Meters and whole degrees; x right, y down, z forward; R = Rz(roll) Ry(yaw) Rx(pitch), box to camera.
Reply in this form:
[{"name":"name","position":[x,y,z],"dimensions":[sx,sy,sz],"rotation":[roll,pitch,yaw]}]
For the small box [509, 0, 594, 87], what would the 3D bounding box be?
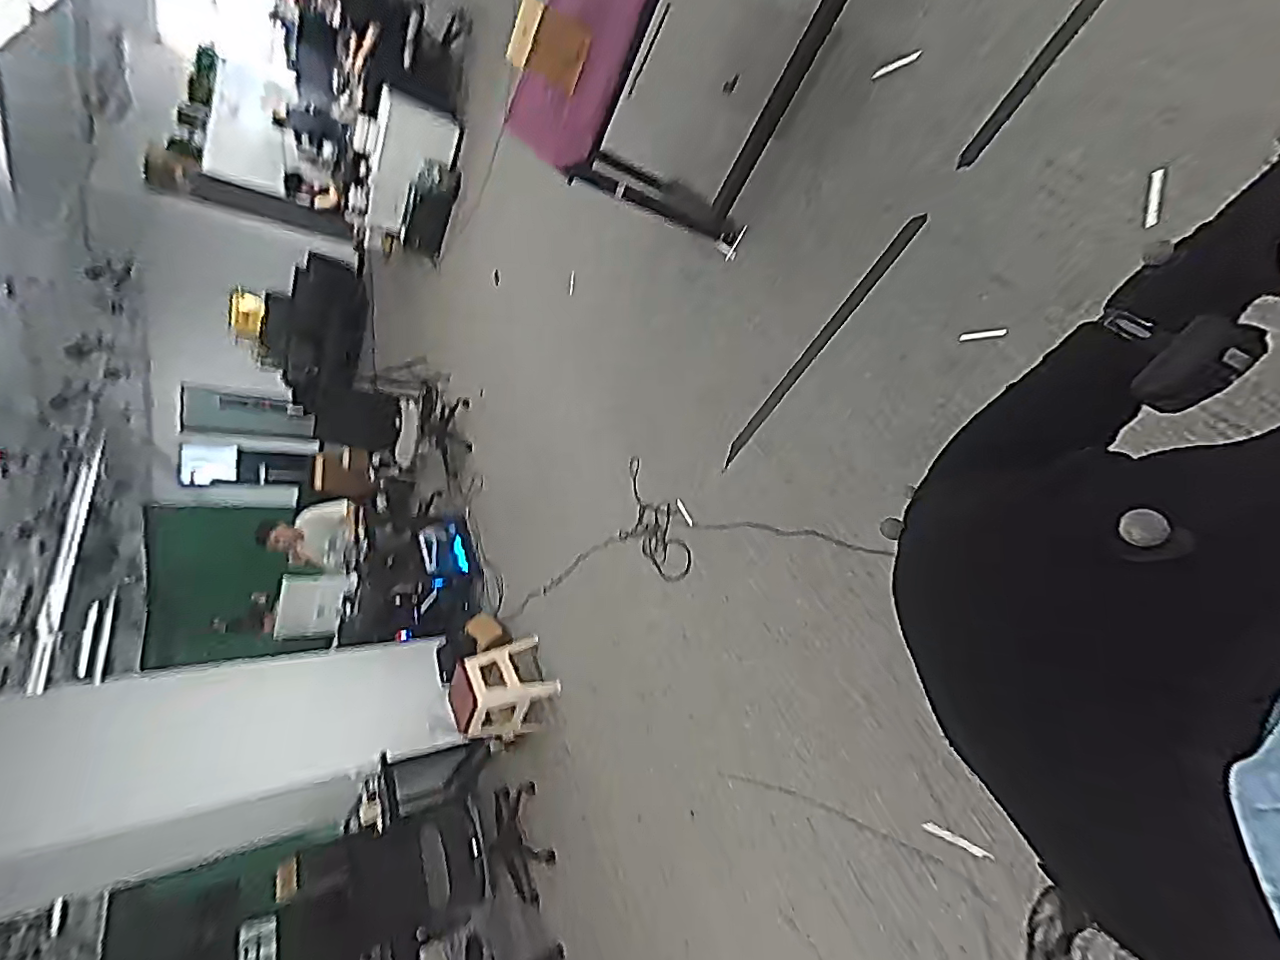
[{"name":"small box","position":[-0.267,-1.328,1.627],"dimensions":[0.168,0.176,0.179],"rotation":[-58,48,31]}]
